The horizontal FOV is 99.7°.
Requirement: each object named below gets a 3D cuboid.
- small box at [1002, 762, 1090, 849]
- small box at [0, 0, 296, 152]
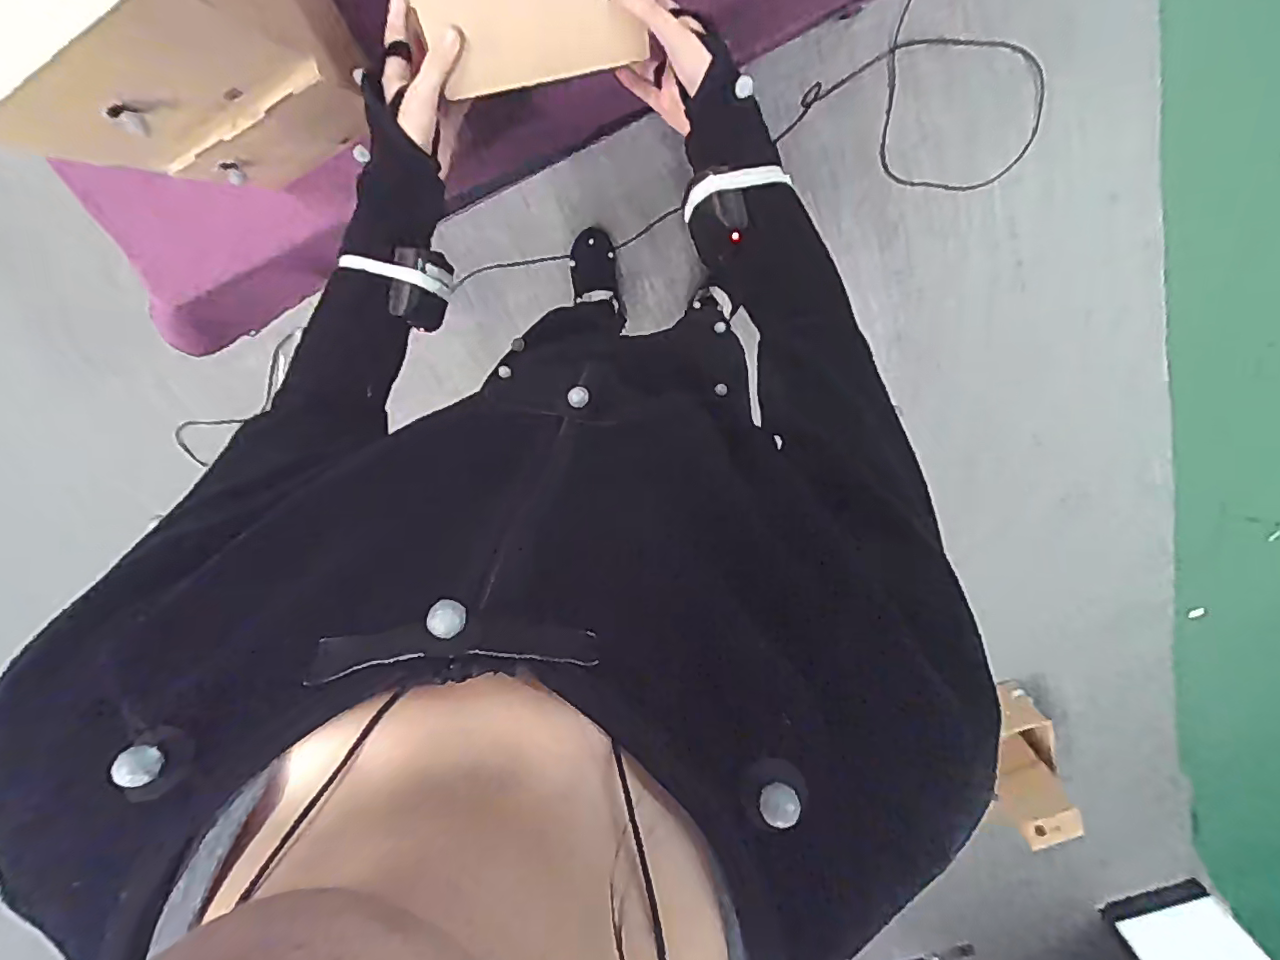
[{"bbox_3d":[1.381,1.112,1.854,0.179,0.176,0.168,-26,113,10],"label":"small box"},{"bbox_3d":[-0.369,-0.334,0.336,0.168,0.176,0.179,-27,112,10],"label":"small box"}]
